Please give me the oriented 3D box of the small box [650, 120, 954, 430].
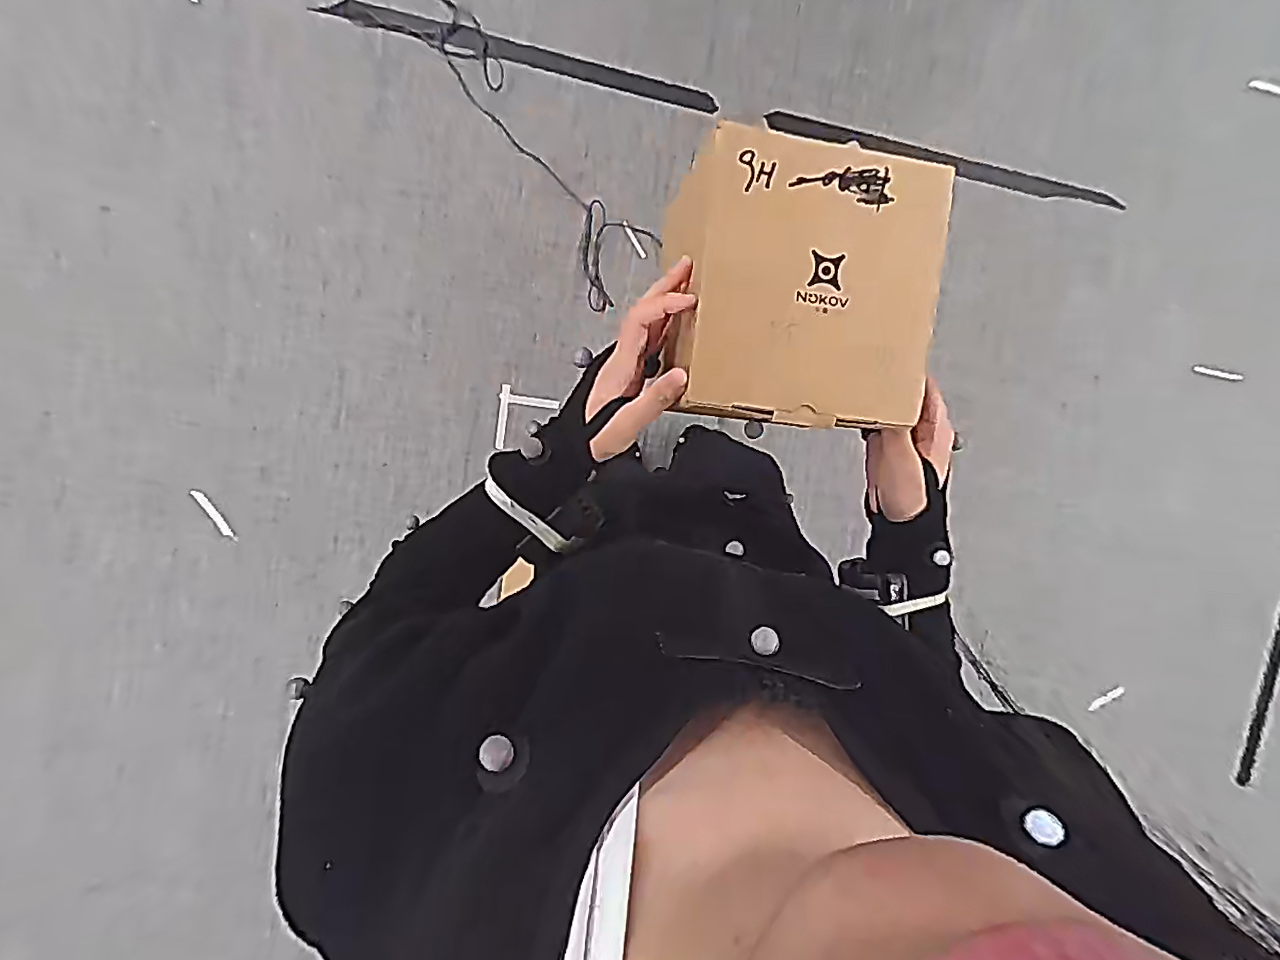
[{"bbox_3d":[0.105,-0.138,0.430,0.168,0.176,0.179,5,96,-9],"label":"small box"}]
